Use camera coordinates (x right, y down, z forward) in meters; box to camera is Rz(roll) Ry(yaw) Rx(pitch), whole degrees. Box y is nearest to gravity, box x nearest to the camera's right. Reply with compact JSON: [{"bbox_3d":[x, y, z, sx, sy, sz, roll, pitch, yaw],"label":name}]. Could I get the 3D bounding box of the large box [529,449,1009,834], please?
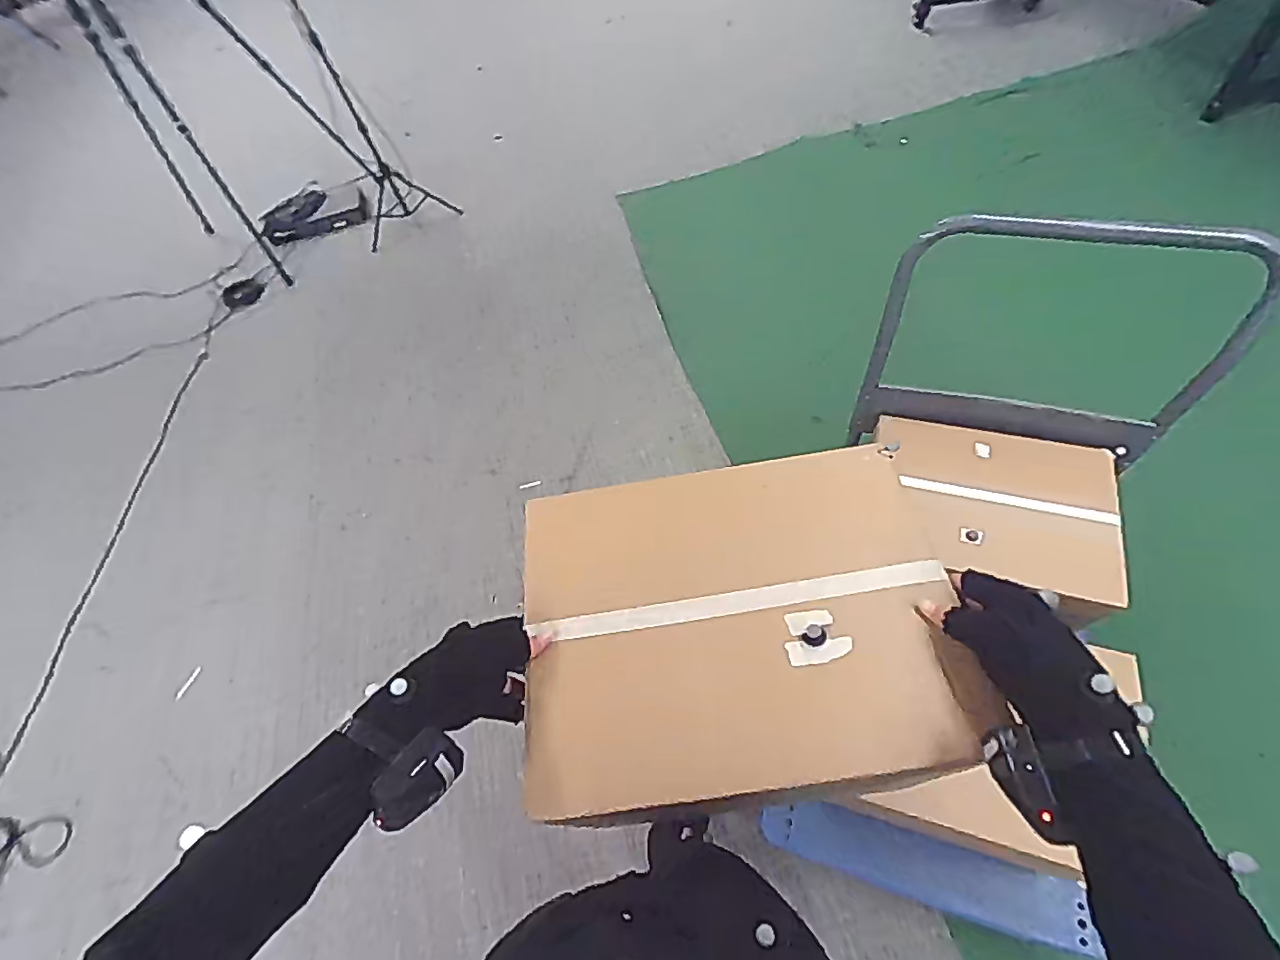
[{"bbox_3d":[0.102,0.204,0.644,0.408,0.320,0.320,-9,55,1],"label":"large box"}]
